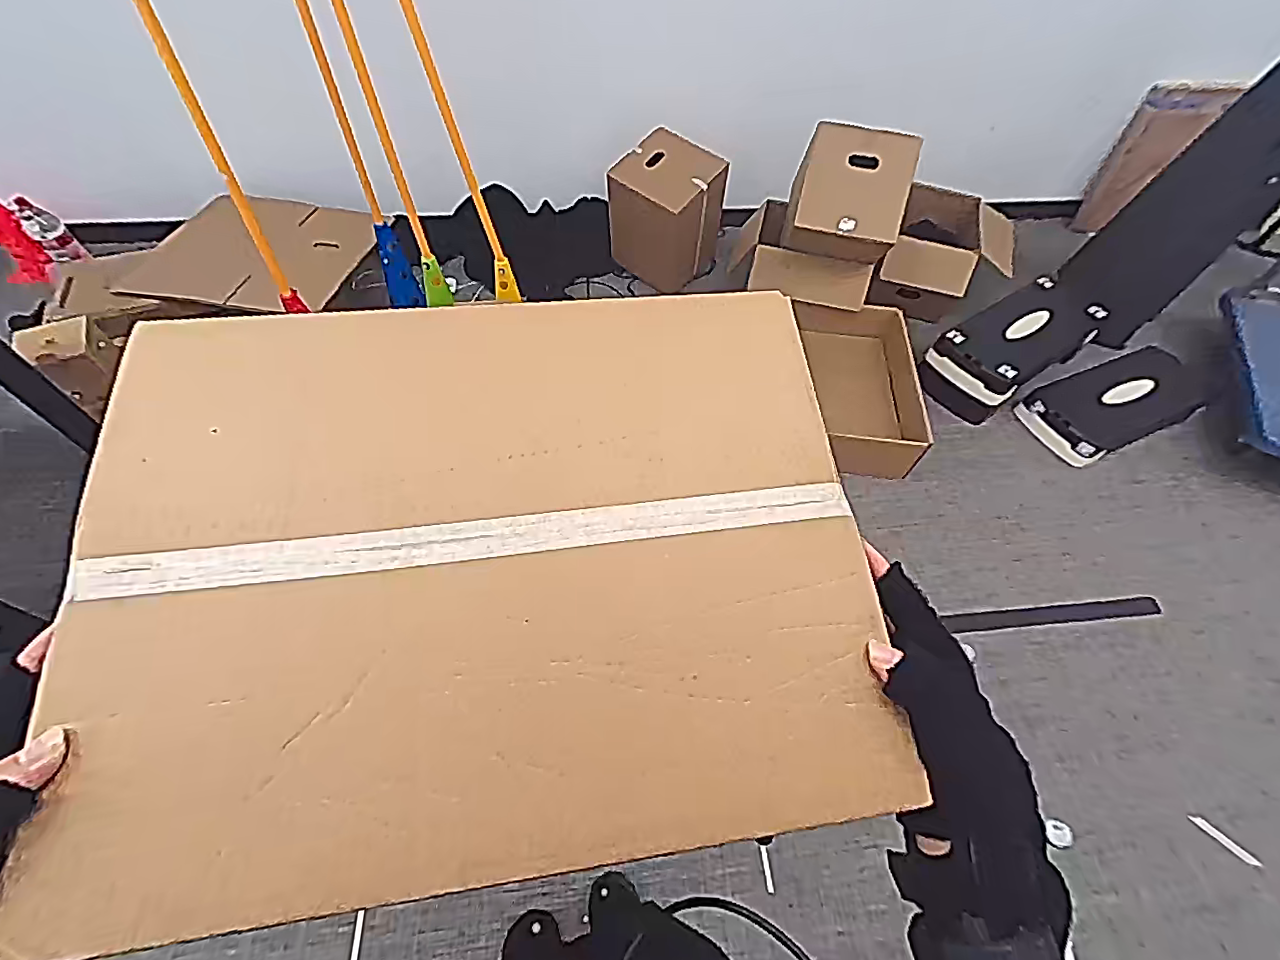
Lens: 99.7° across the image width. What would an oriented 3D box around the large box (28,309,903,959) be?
[{"bbox_3d":[-0.091,0.096,0.438,0.408,0.320,0.320,-6,68,-7],"label":"large box"}]
